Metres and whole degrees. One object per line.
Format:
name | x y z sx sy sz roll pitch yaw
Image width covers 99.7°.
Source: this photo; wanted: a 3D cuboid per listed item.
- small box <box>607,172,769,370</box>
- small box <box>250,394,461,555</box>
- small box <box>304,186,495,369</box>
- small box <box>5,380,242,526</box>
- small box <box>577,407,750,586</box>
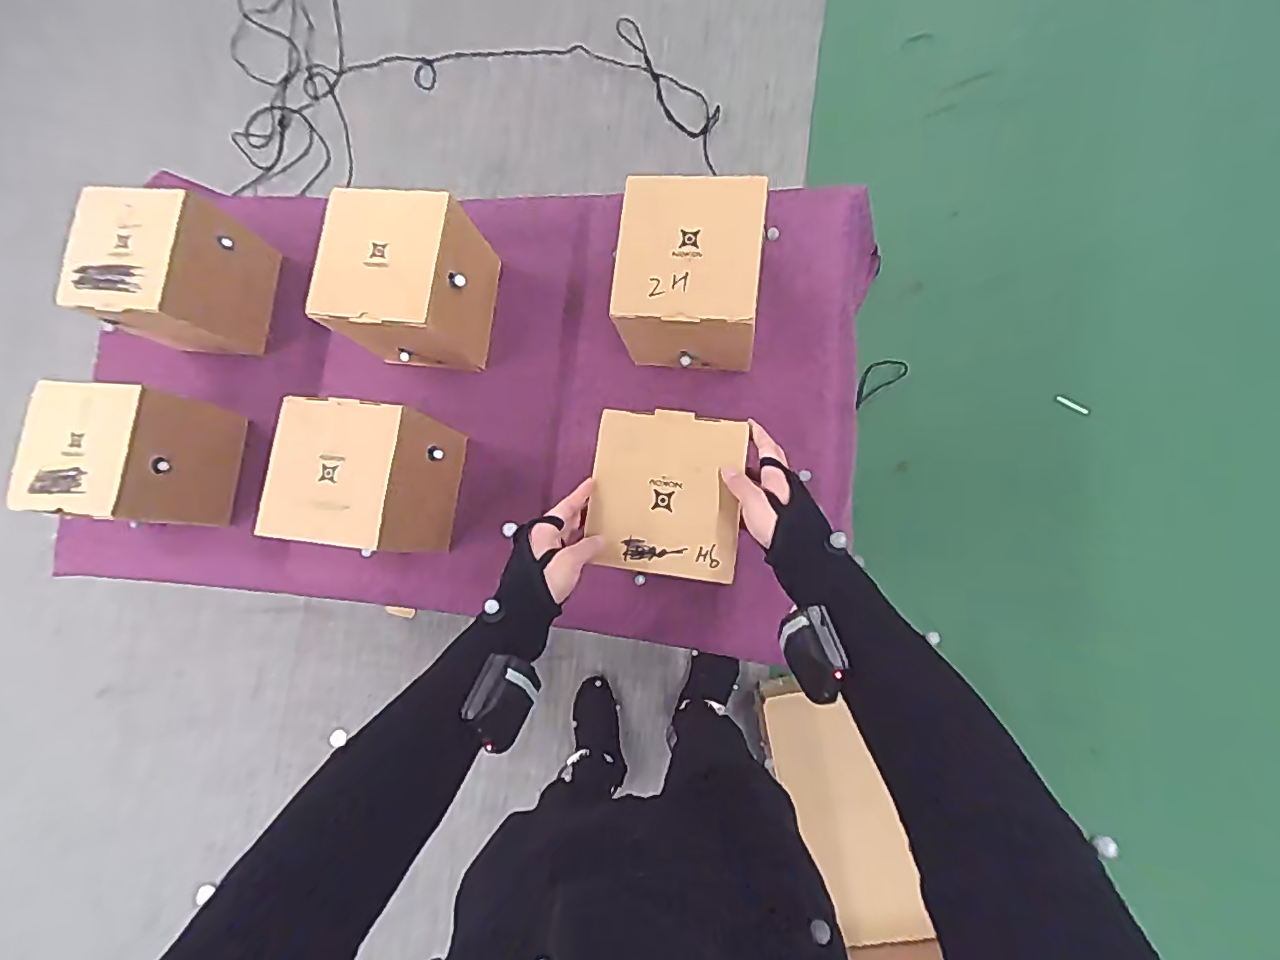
small box | 0.066 -0.254 0.682 0.168 0.176 0.179 6 84 11
small box | -0.358 0.001 0.715 0.168 0.176 0.179 6 83 10
small box | -0.315 -0.269 0.746 0.168 0.176 0.179 7 84 9
small box | -0.715 -0.030 0.770 0.168 0.176 0.179 4 81 9
small box | 0.036 0.028 0.649 0.168 0.176 0.179 6 80 10
